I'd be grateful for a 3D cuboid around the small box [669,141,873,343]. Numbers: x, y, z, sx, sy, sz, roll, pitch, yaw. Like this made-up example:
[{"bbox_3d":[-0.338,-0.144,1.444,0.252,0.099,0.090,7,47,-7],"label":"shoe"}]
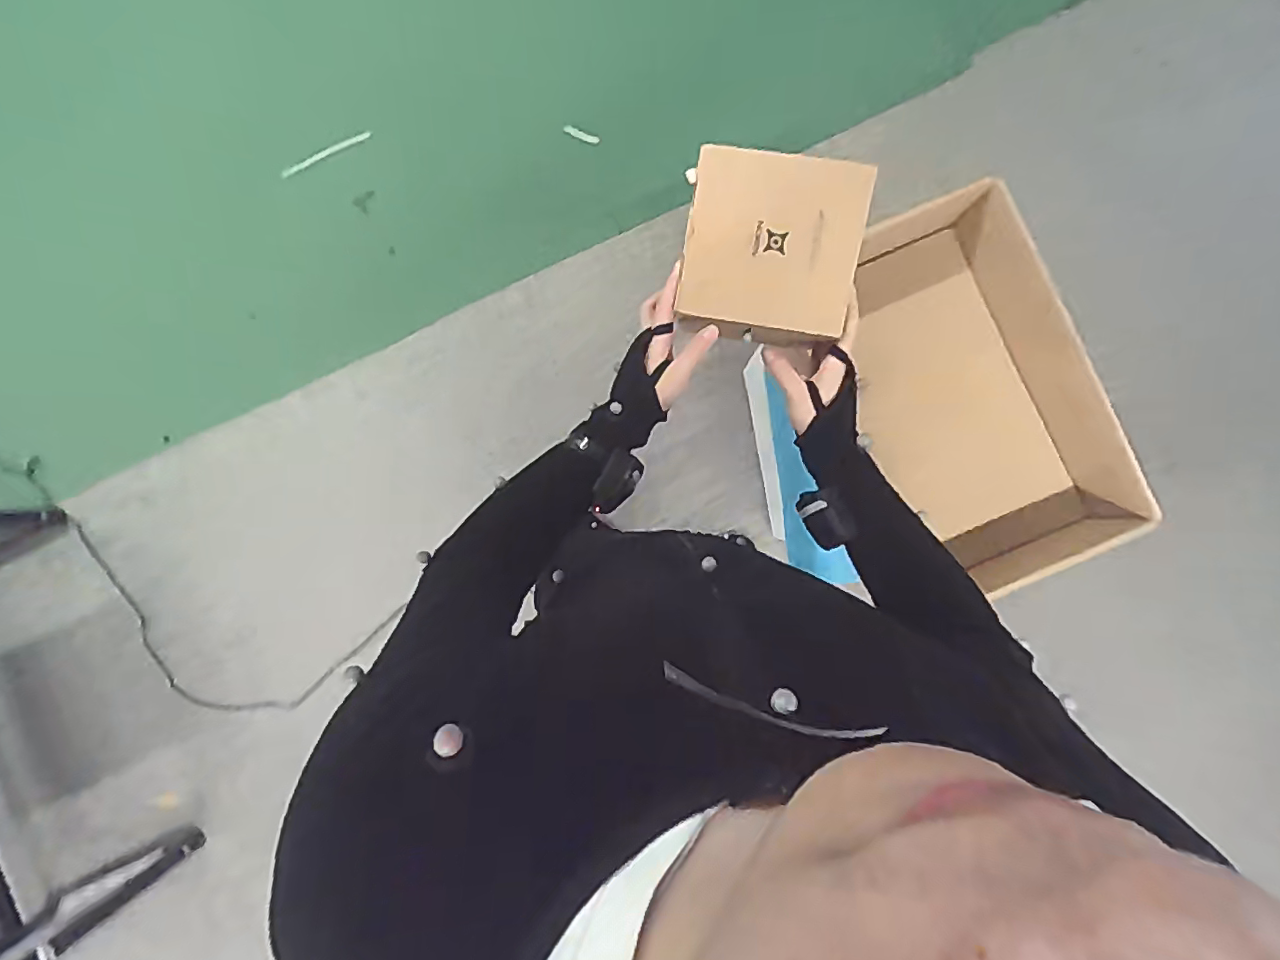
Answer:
[{"bbox_3d":[0.137,-0.256,0.620,0.179,0.176,0.168,10,100,5],"label":"small box"}]
